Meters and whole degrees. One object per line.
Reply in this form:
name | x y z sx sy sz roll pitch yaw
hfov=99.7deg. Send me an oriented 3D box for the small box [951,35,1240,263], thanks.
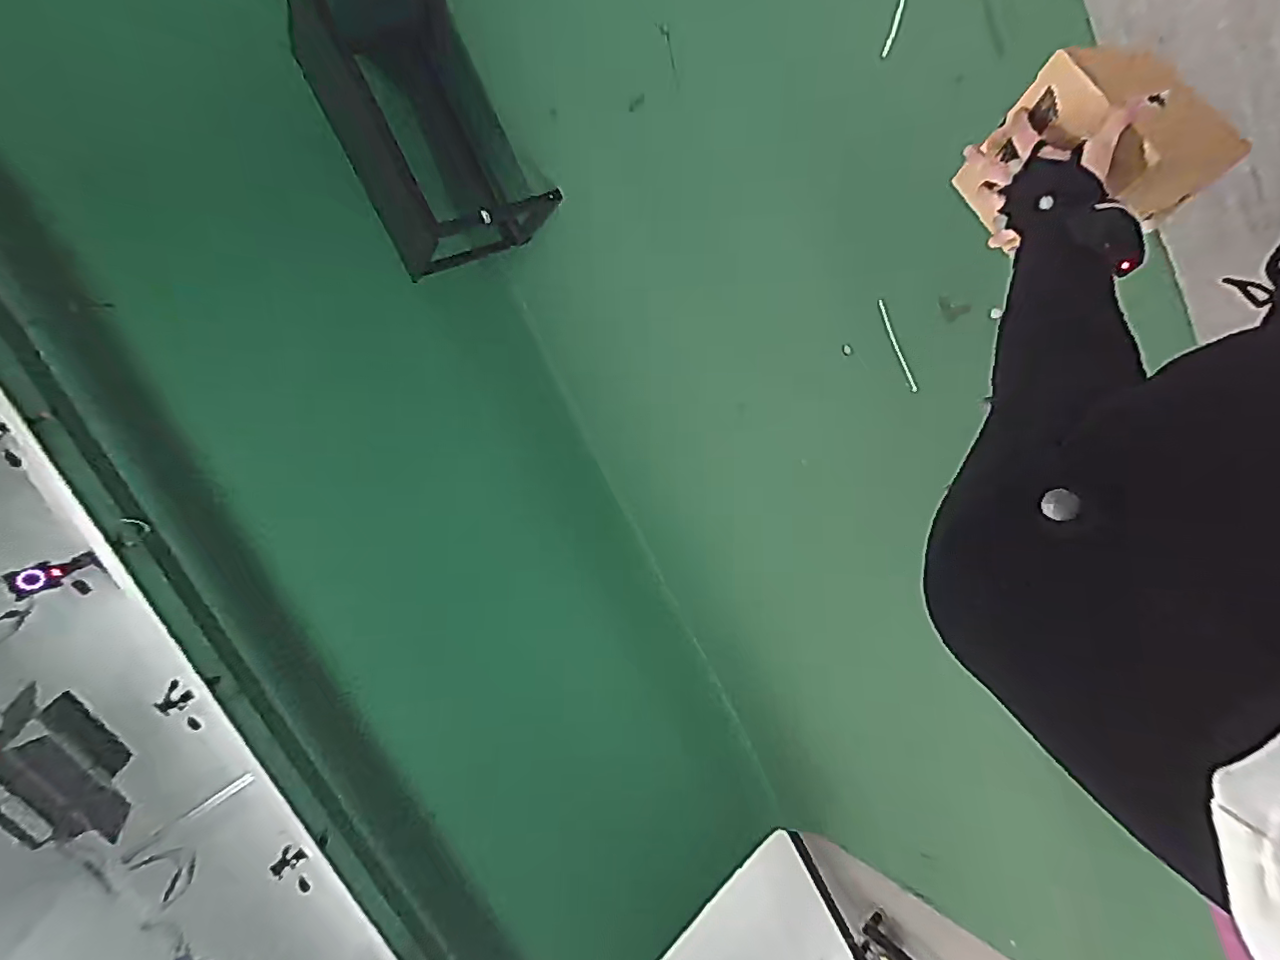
small box | 0.539 -0.395 0.657 0.168 0.176 0.179 117 134 -63
